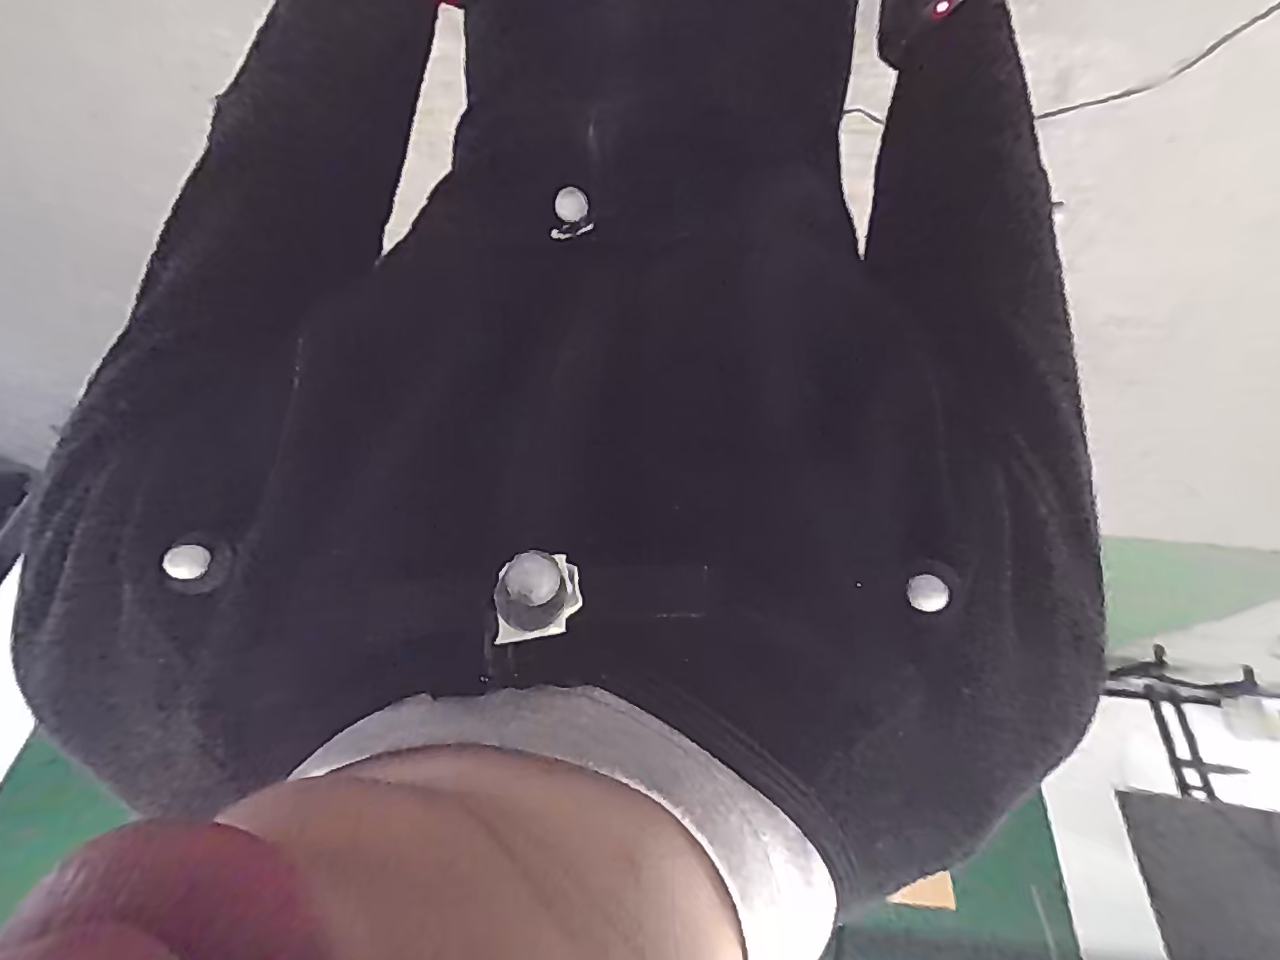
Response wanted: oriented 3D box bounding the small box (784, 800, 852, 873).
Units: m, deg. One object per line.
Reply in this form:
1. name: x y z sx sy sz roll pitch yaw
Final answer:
1. small box: 0.550 1.107 1.689 0.168 0.176 0.179 4 150 4
